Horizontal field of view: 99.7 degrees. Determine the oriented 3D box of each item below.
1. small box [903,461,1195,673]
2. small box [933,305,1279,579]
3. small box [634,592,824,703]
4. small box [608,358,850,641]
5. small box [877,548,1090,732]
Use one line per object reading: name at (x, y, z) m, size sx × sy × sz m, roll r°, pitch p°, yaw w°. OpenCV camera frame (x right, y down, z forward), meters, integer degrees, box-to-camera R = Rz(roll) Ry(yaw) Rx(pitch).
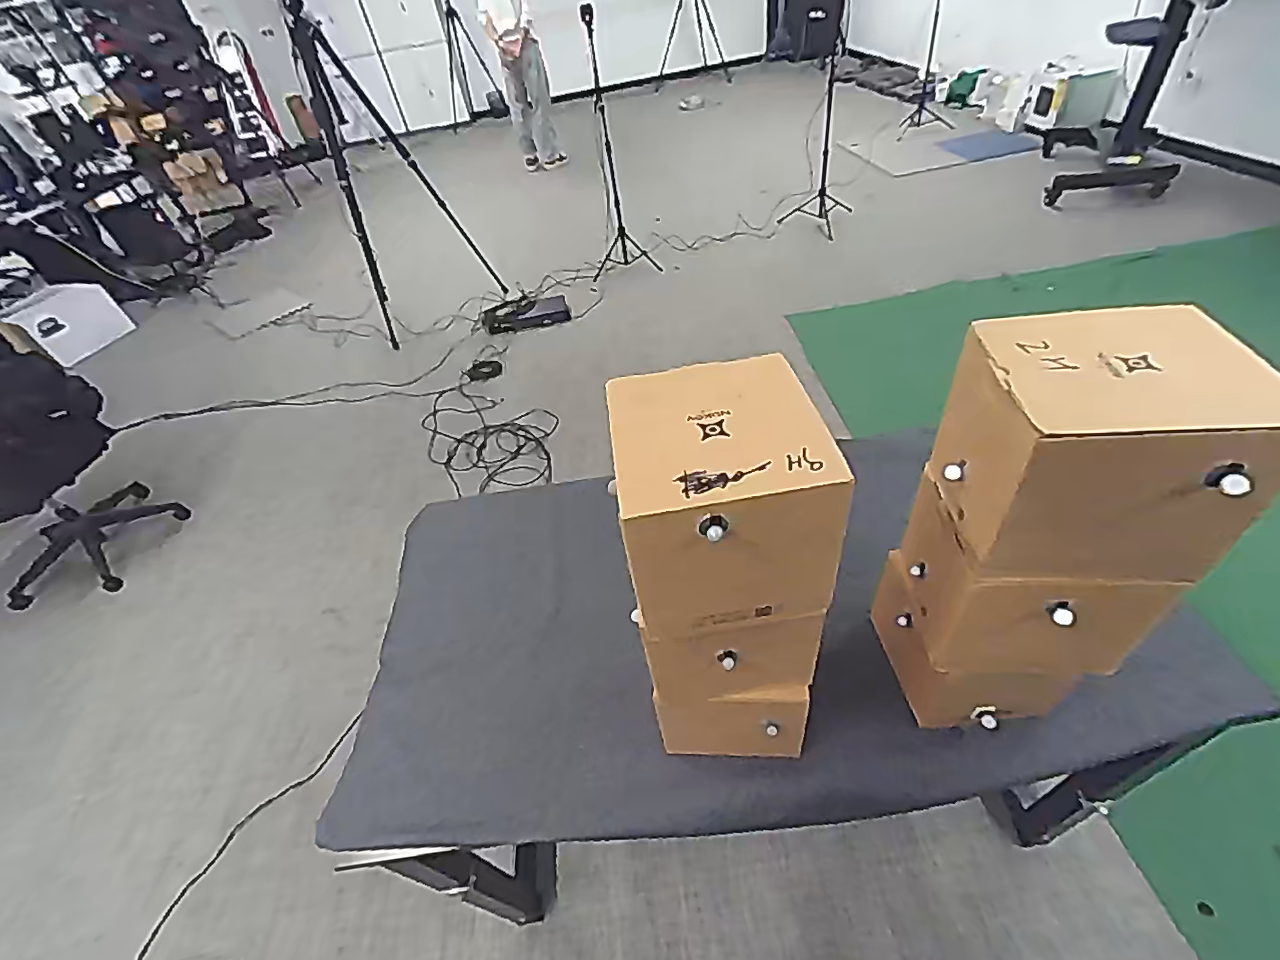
small box at (0.403, 0.092, 0.578) m, size 0.179 × 0.176 × 0.168 m, roll -3°, pitch 44°, yaw 11°
small box at (0.381, -0.028, 0.467) m, size 0.179 × 0.176 × 0.168 m, roll -2°, pitch 43°, yaw 12°
small box at (0.088, 0.128, 0.604) m, size 0.179 × 0.176 × 0.168 m, roll -10°, pitch 43°, yaw 3°
small box at (0.067, 0.016, 0.485) m, size 0.168 × 0.176 × 0.179 m, roll -10°, pitch 43°, yaw 1°
small box at (0.426, 0.197, 0.700) m, size 0.168 × 0.176 × 0.179 m, roll -10°, pitch 43°, yaw 3°
